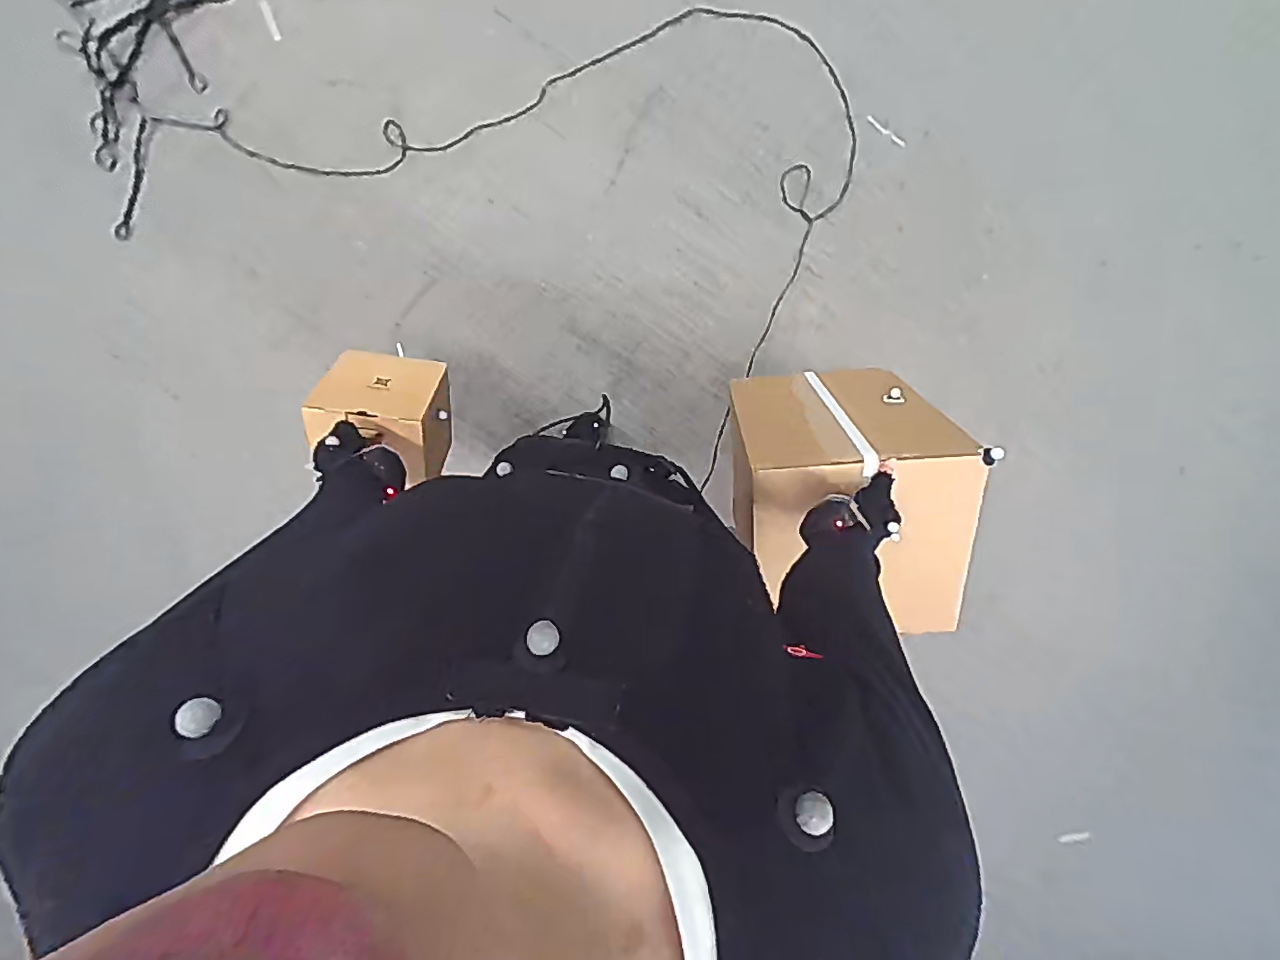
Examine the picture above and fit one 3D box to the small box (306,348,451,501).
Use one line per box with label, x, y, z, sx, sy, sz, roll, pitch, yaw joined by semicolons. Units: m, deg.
small box;-0.414;-0.091;0.890;0.168;0.179;0.176;6;130;-9
